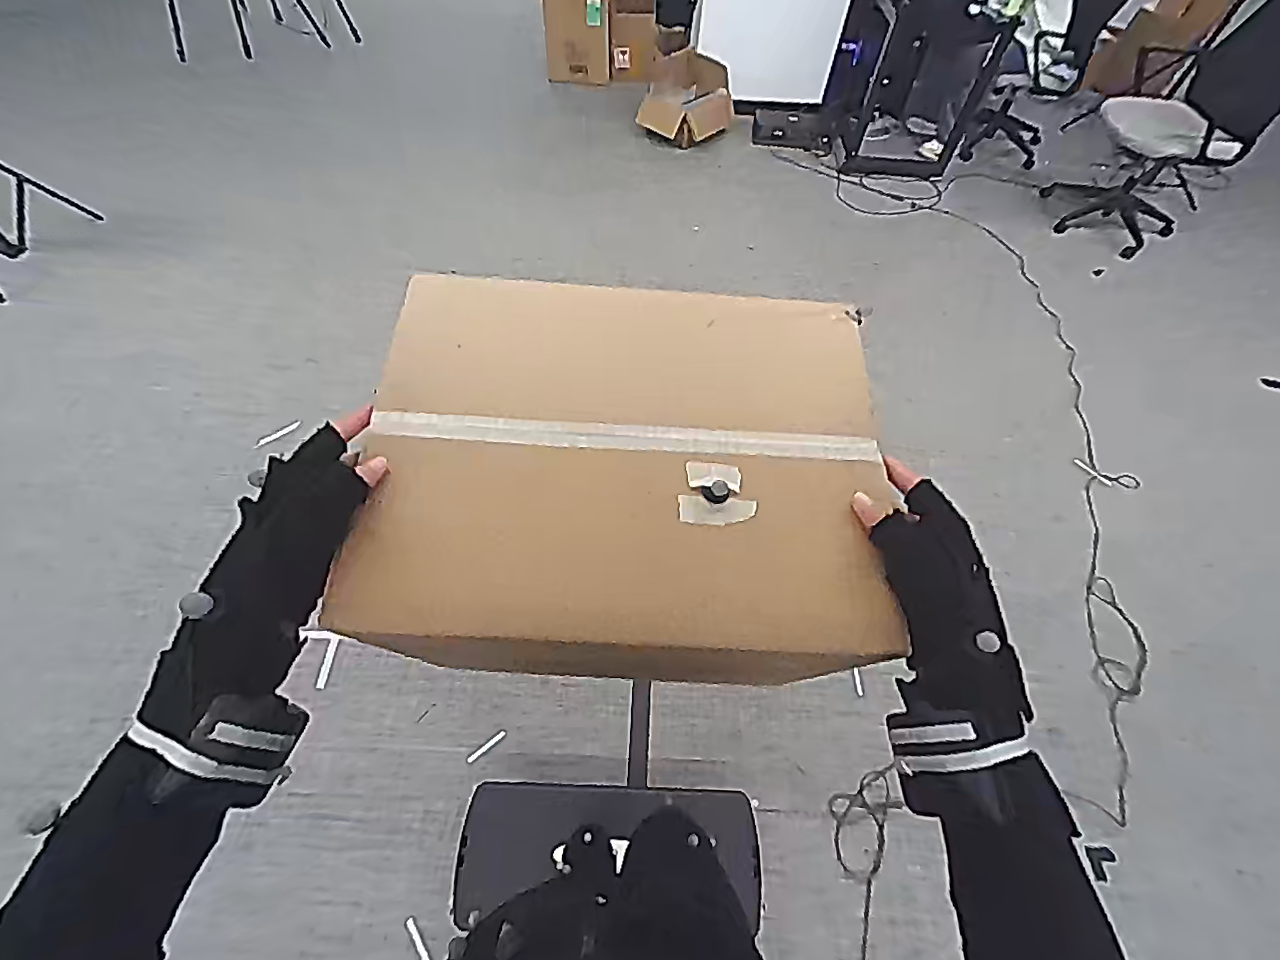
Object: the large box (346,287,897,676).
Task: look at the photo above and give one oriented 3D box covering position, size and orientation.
[{"bbox_3d":[-0.016,0.031,0.579,0.408,0.320,0.320,4,67,-3],"label":"large box"}]
